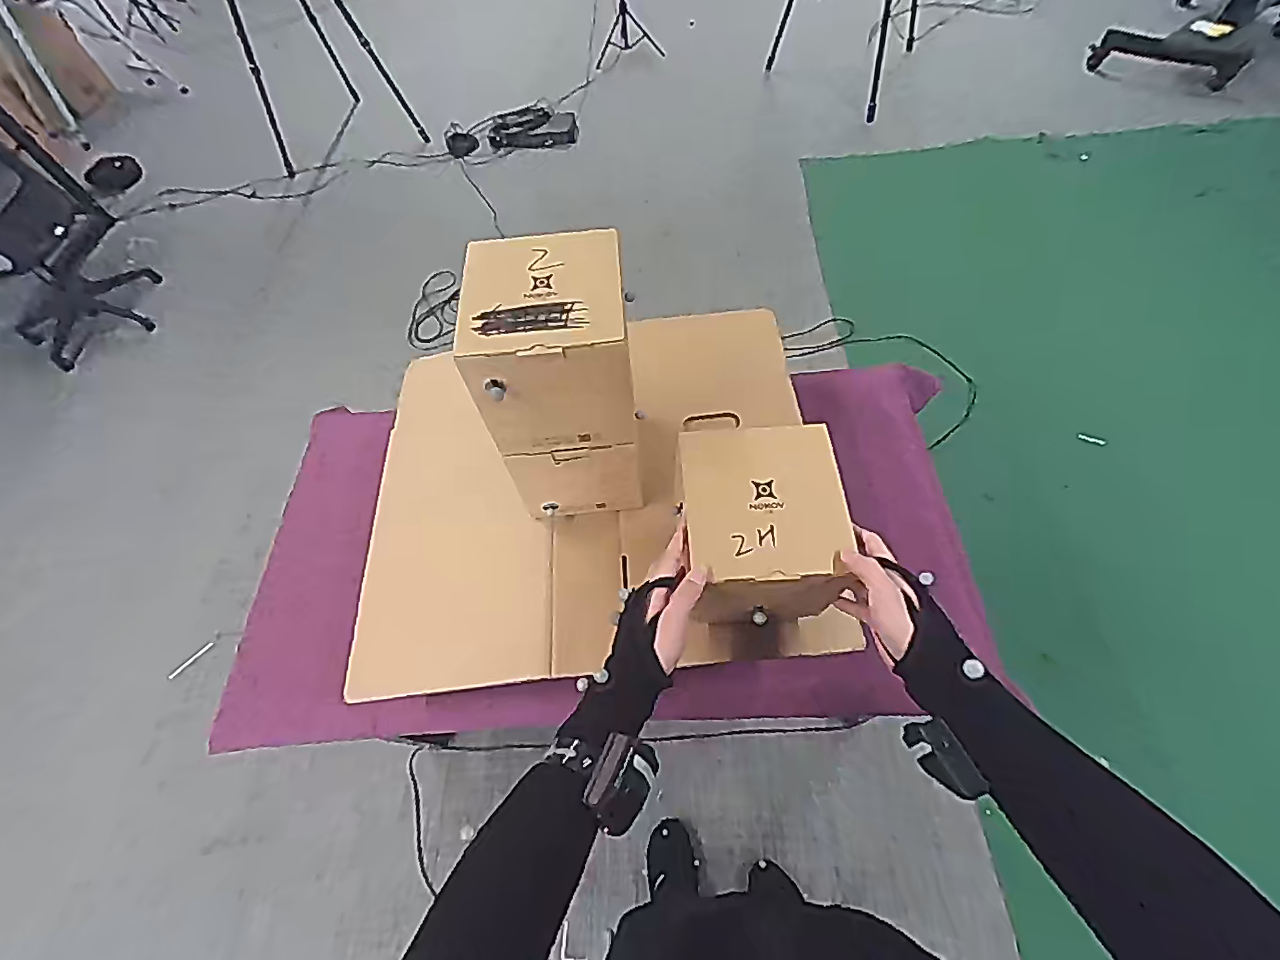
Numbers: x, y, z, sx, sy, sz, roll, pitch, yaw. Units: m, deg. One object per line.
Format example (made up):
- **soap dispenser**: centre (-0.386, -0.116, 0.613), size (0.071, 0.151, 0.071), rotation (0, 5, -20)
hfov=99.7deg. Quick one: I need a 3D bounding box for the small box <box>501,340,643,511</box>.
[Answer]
- **small box**: centre (-0.086, -0.066, 0.752), size (0.168, 0.176, 0.179), rotation (-5, 58, 0)
